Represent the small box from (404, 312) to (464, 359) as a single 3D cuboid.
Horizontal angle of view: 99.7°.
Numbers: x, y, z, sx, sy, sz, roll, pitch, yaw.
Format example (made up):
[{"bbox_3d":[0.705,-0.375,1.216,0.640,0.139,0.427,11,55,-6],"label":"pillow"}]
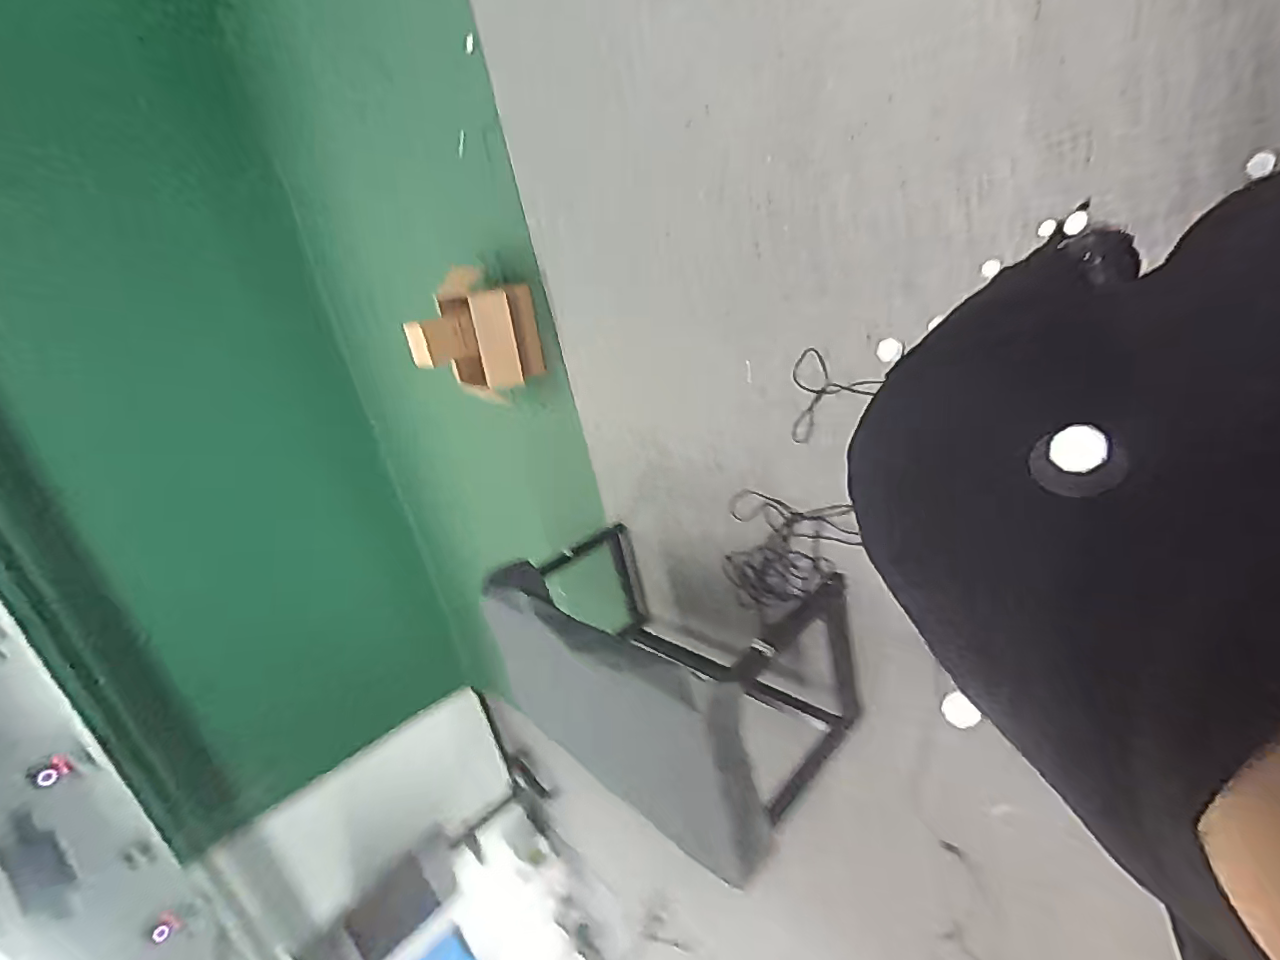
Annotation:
[{"bbox_3d":[-0.861,-0.613,2.284,0.179,0.176,0.168,17,123,45],"label":"small box"}]
